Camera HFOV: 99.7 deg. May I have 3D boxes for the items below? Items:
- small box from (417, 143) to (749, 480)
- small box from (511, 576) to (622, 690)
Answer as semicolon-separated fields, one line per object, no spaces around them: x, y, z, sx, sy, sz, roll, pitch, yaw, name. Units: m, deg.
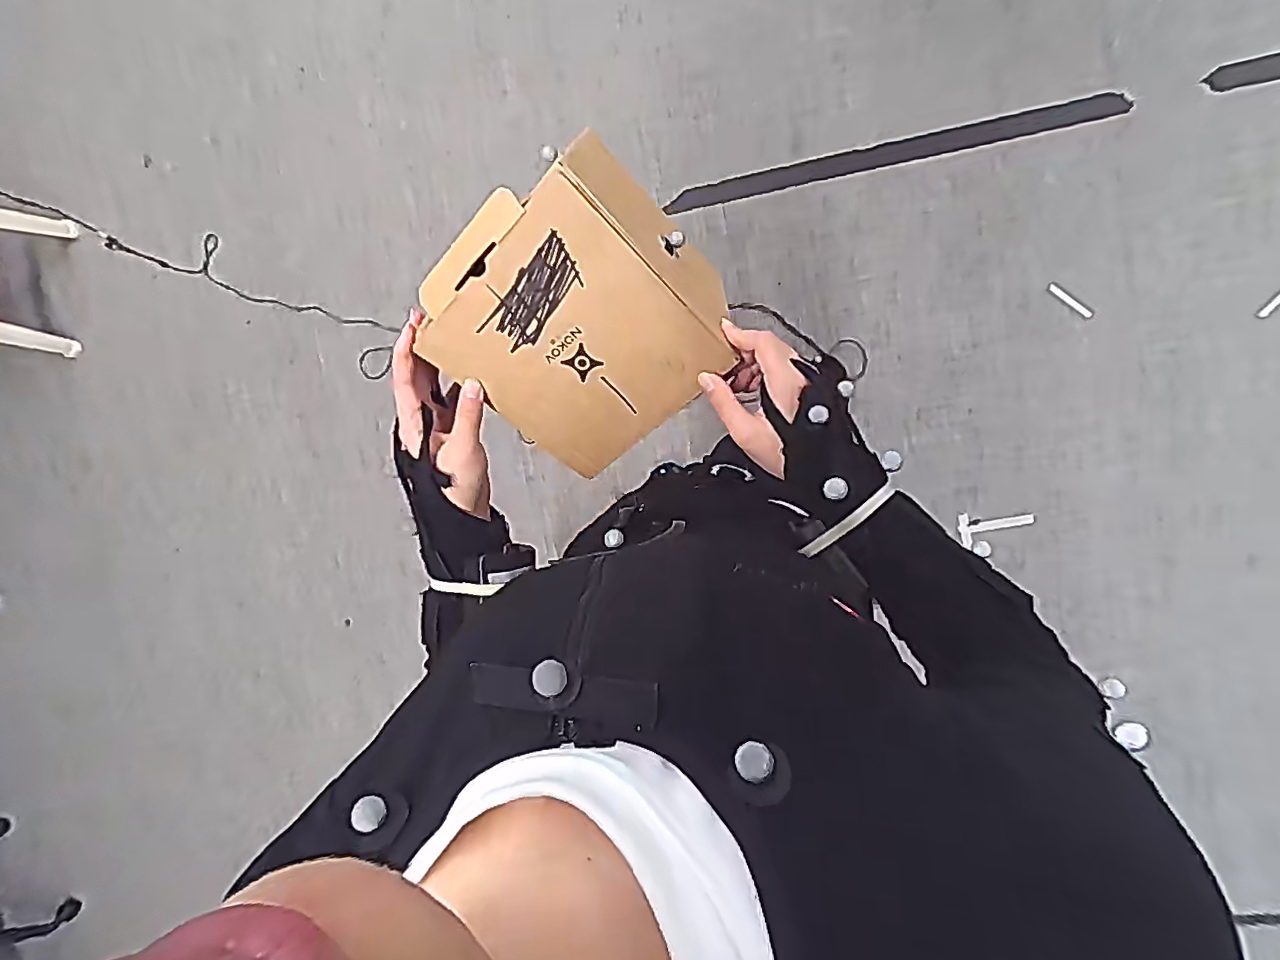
-0.038;-0.140;0.439;0.168;0.176;0.179;-36;120;27;small box
-0.150;0.319;1.167;0.168;0.176;0.179;-17;93;11;small box
